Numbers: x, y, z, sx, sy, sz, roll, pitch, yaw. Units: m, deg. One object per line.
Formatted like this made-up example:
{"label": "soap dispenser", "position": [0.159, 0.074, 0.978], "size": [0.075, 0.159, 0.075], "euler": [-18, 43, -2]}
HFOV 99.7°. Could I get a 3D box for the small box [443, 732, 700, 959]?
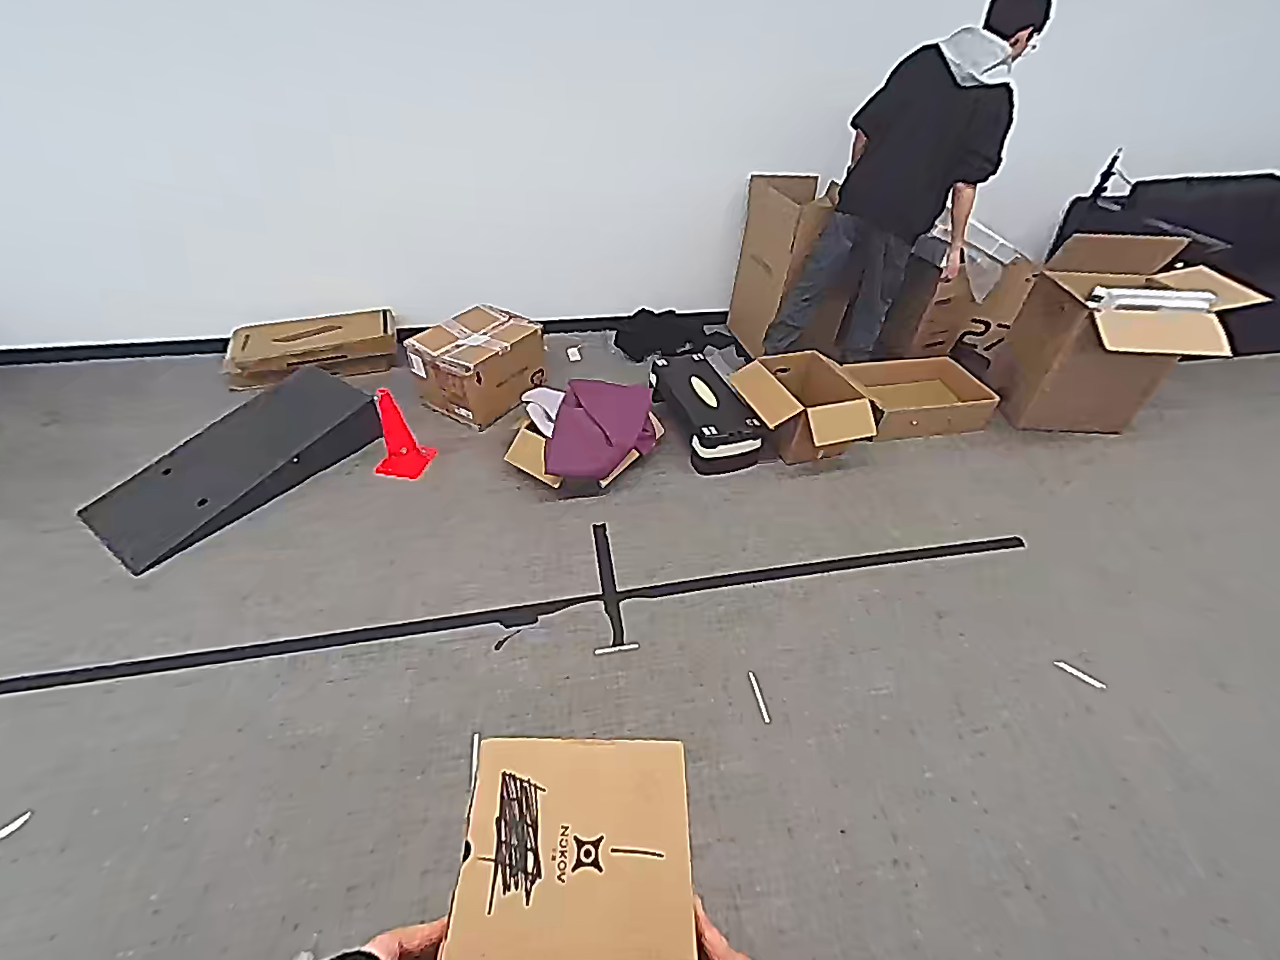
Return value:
{"label": "small box", "position": [-0.050, 0.336, 0.468], "size": [0.179, 0.176, 0.168], "euler": [2, 44, -3]}
